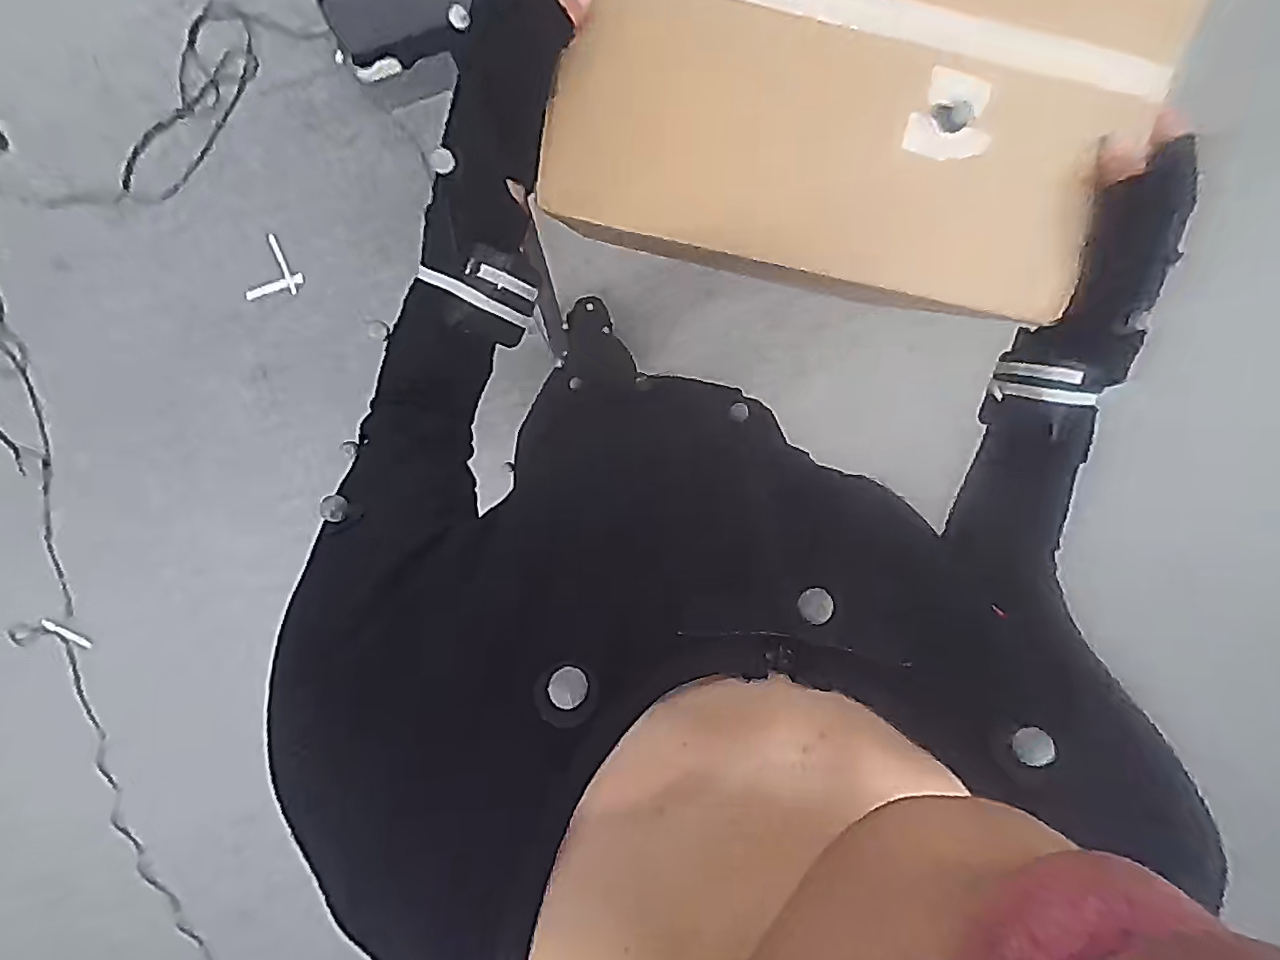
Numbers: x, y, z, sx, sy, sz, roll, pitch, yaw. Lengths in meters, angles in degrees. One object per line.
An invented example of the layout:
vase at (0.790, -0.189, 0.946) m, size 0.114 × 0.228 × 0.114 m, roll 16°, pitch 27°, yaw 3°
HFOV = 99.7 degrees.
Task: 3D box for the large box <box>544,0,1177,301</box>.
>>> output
large box at (0.144, -0.360, 0.494) m, size 0.408 × 0.320 × 0.320 m, roll 9°, pitch 111°, yaw -5°
